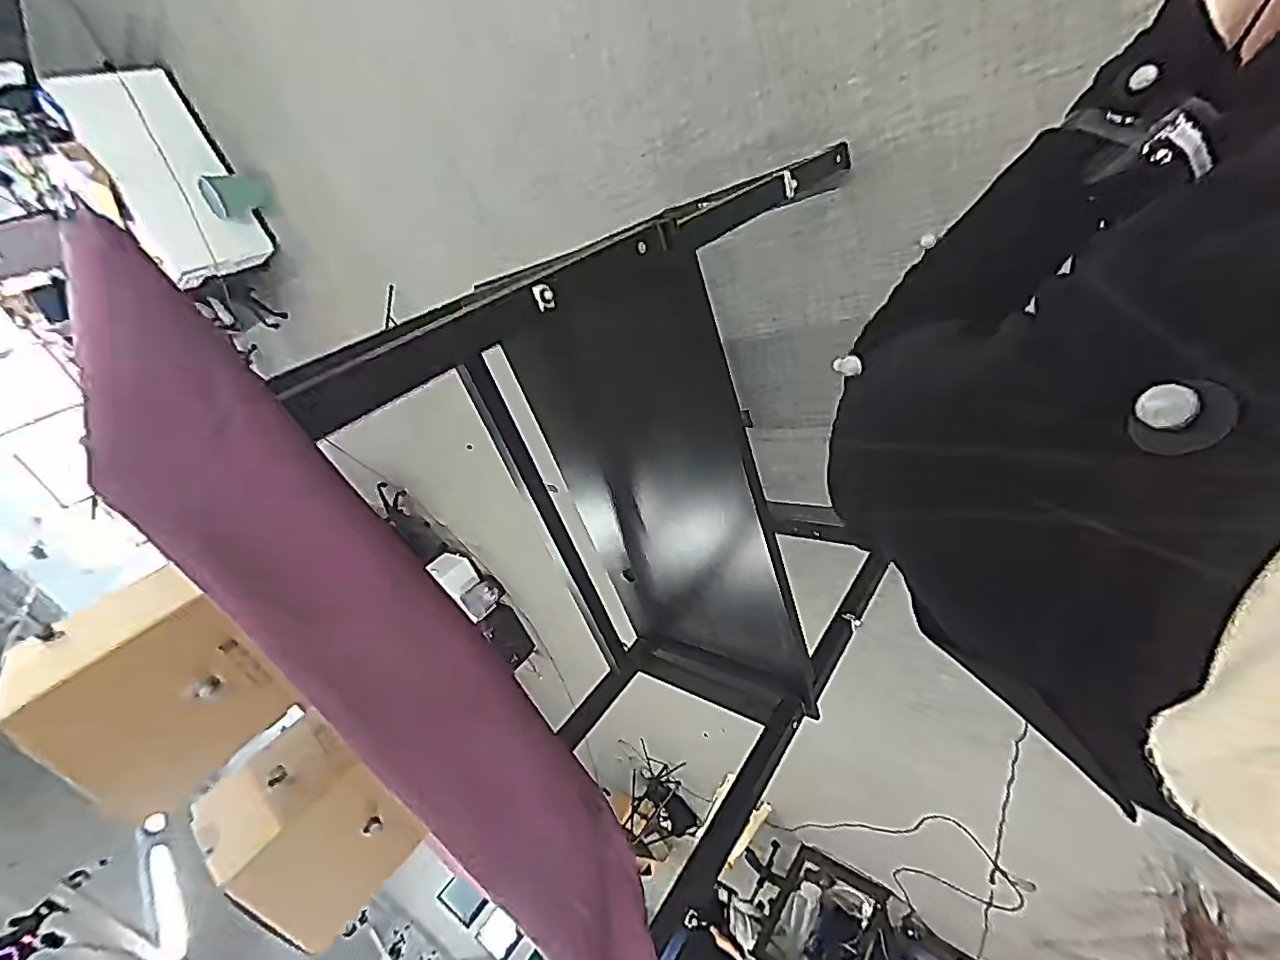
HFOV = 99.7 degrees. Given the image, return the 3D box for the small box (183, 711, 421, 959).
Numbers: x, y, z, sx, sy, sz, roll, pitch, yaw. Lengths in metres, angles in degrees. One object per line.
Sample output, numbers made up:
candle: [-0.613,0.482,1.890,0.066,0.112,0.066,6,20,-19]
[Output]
small box: [-0.419,0.433,0.686,0.168,0.176,0.179,10,129,42]

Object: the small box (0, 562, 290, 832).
small box: [-0.513,0.209,0.571,0.179,0.176,0.168,9,130,42]
